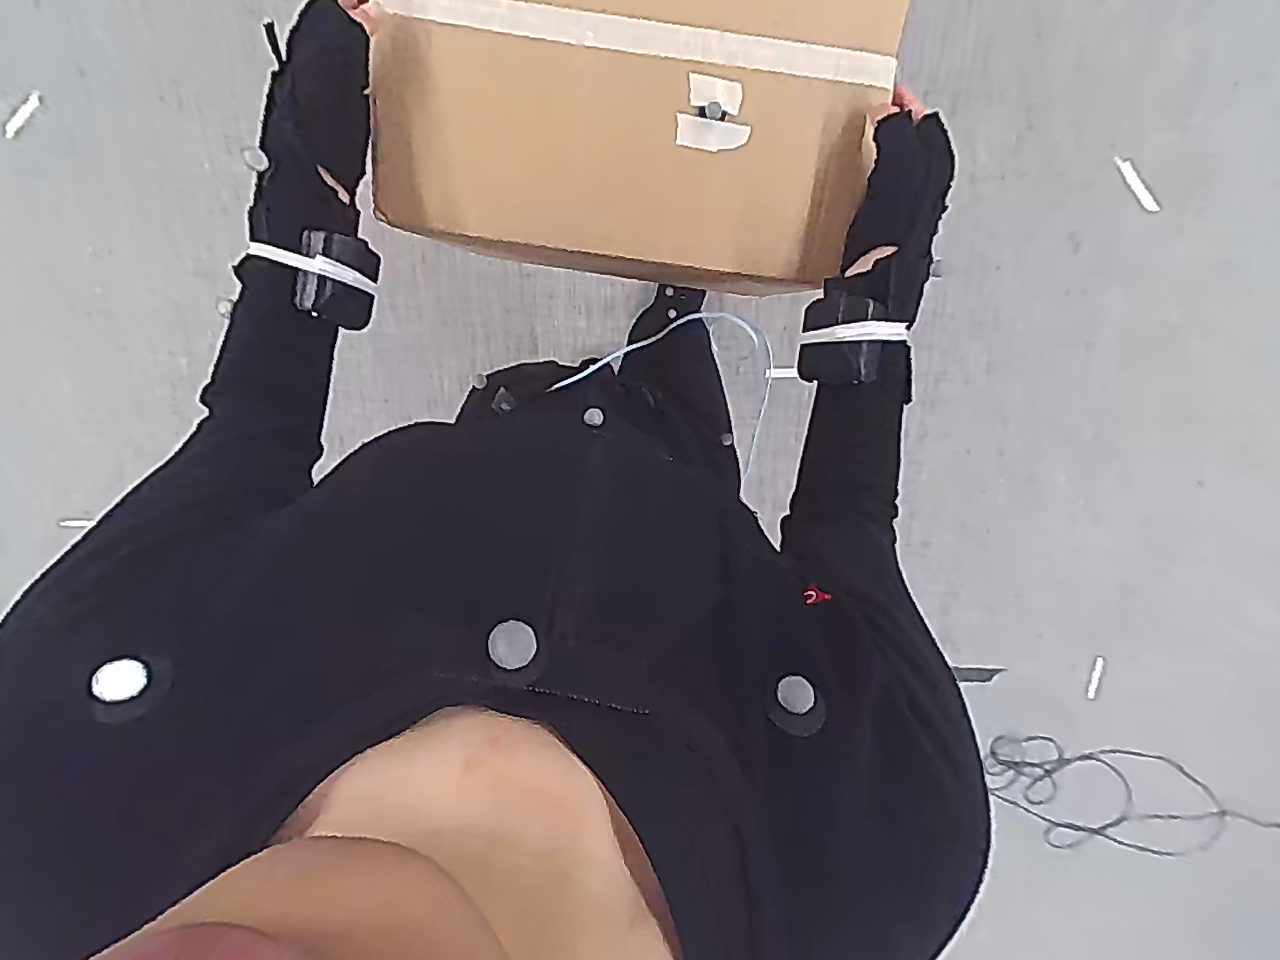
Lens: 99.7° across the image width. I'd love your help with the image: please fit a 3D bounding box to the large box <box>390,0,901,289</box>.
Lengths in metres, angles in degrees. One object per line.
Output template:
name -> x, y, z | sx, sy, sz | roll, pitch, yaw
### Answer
large box -> -0.002, -0.393, 0.572 | 0.408, 0.320, 0.320 | 7, 107, -3
